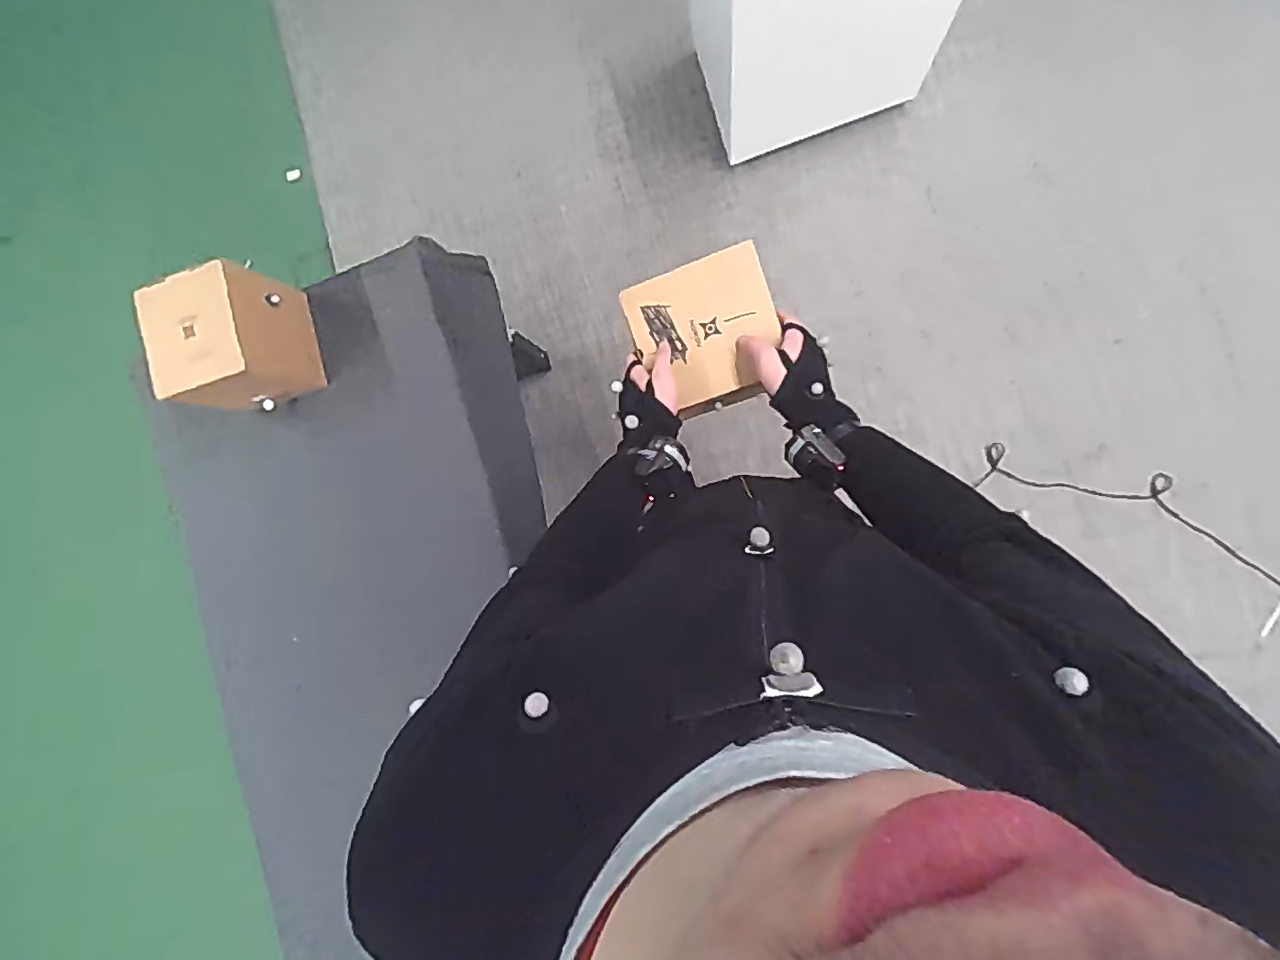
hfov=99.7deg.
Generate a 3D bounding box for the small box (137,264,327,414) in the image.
[{"bbox_3d":[-0.657,-0.219,0.889,0.168,0.176,0.179,-15,88,10],"label":"small box"}]

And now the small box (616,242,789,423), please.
[{"bbox_3d":[0.090,-0.181,0.728,0.179,0.176,0.168,-18,89,13],"label":"small box"}]
